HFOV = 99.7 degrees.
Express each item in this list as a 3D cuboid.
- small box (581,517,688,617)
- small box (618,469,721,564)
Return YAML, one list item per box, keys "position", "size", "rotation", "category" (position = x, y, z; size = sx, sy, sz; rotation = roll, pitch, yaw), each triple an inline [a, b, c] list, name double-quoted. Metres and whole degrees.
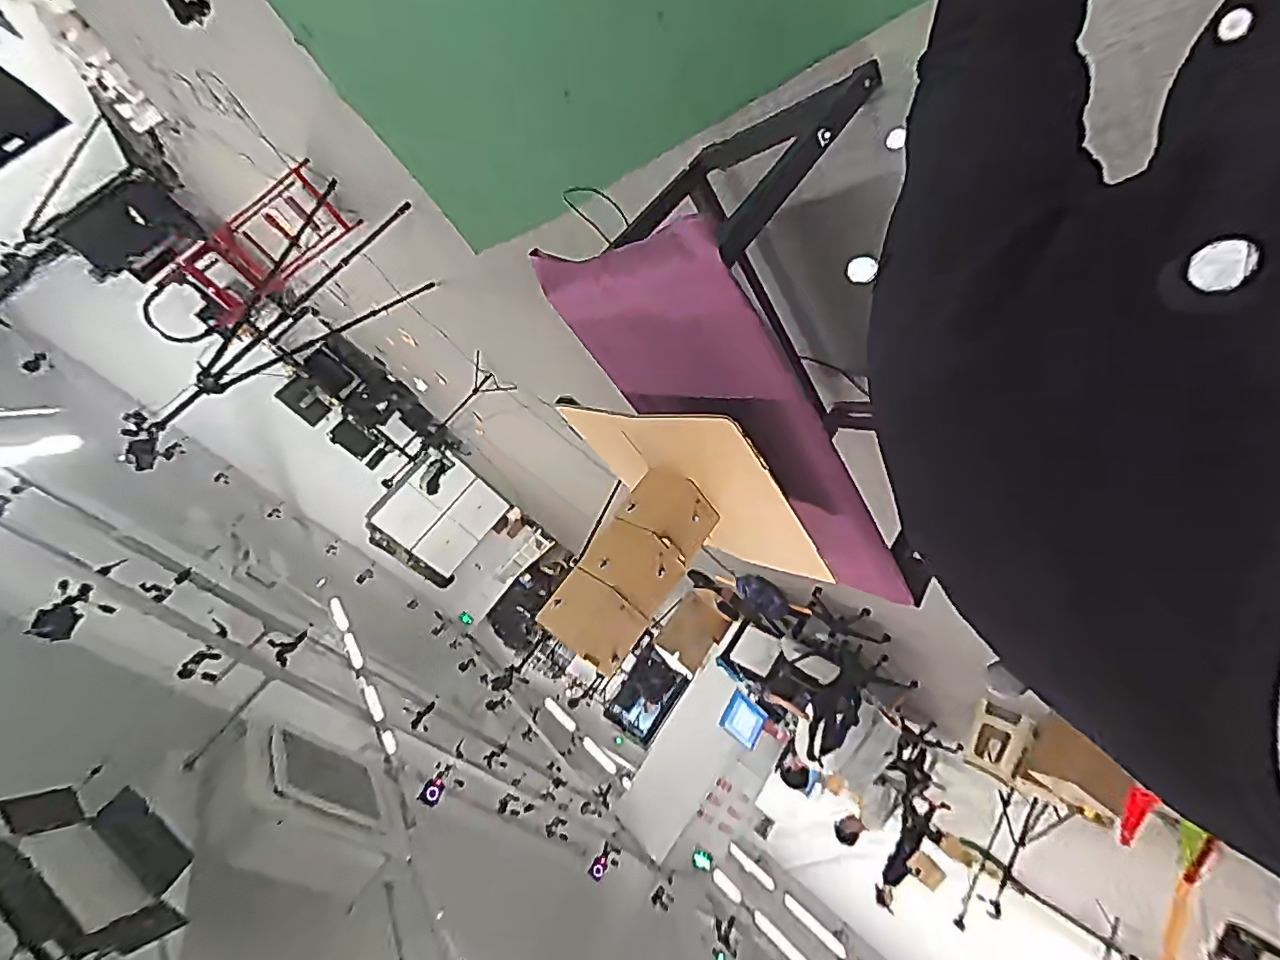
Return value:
- position: [-0.011, 0.216, 1.391]
  size: [0.179, 0.176, 0.168]
  rotation: [15, 152, 53]
  category: "small box"
- position: [0.081, 0.091, 1.441]
  size: [0.179, 0.176, 0.168]
  rotation: [17, 154, 51]
  category: "small box"
